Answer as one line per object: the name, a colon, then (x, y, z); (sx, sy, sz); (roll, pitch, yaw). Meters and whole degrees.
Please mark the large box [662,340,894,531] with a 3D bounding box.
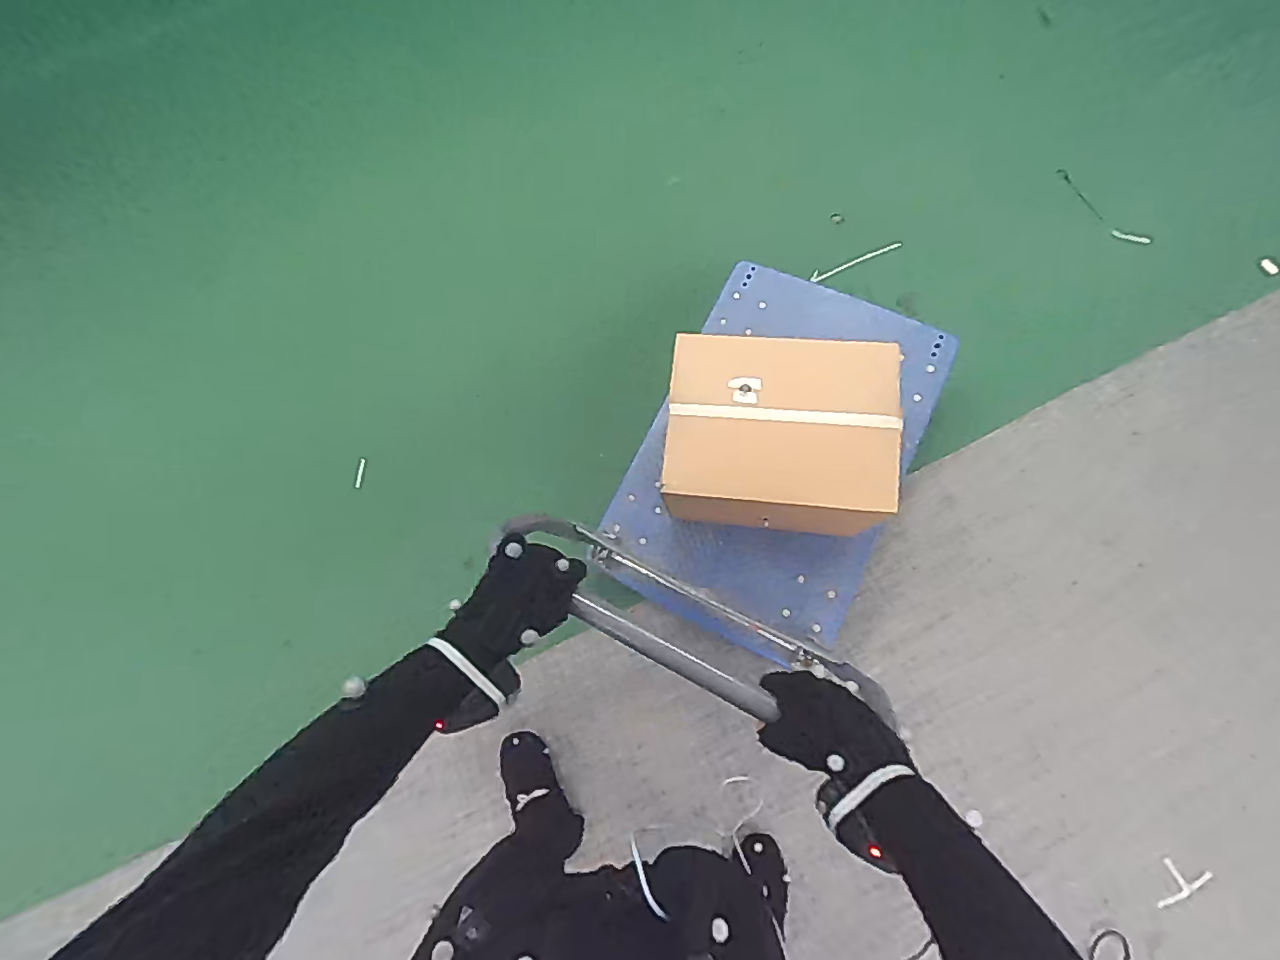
large box: (0.273, -0.076, 1.122); (0.408, 0.320, 0.320); (5, 77, 9)
